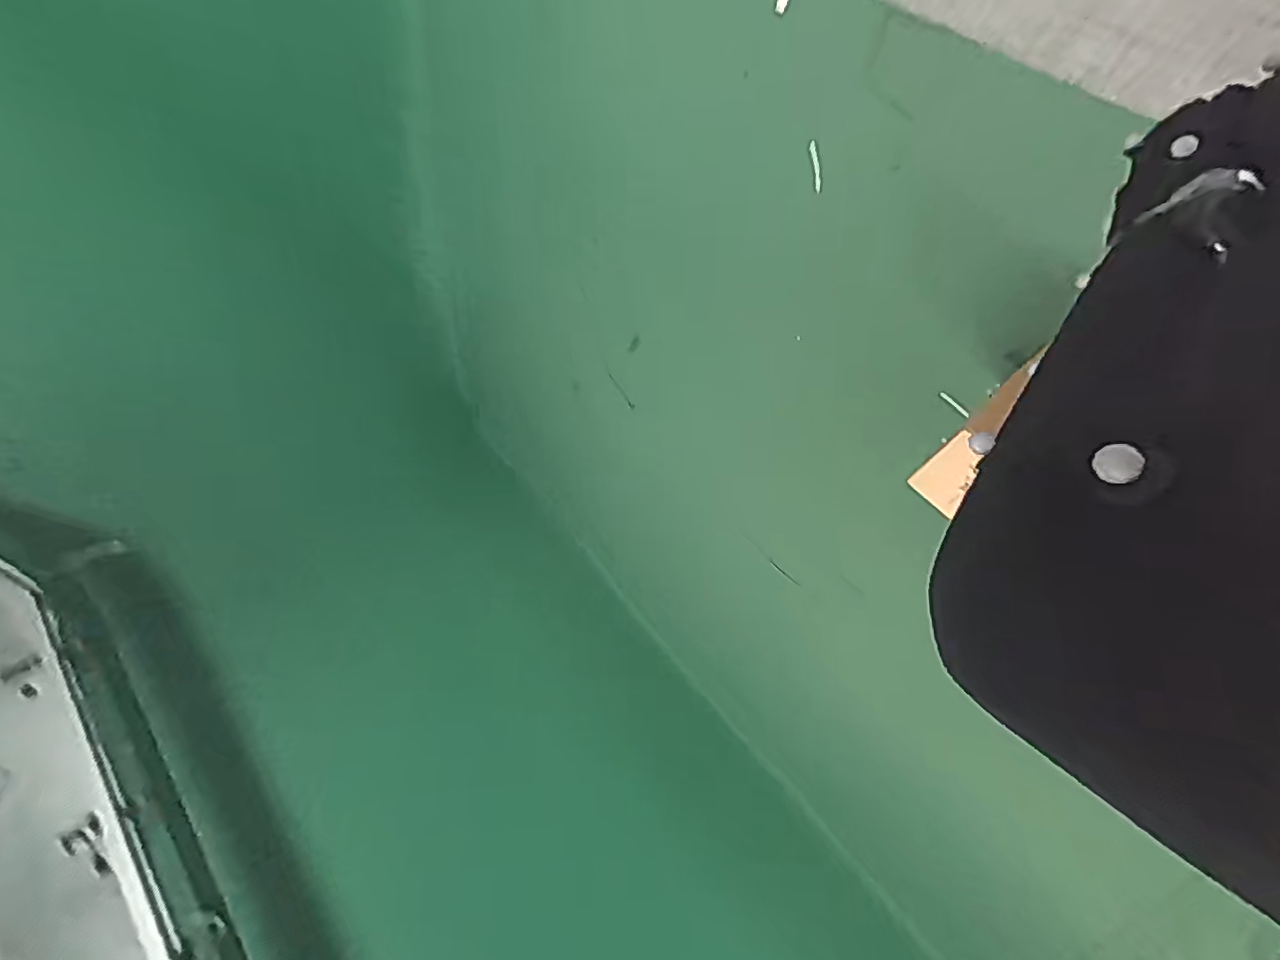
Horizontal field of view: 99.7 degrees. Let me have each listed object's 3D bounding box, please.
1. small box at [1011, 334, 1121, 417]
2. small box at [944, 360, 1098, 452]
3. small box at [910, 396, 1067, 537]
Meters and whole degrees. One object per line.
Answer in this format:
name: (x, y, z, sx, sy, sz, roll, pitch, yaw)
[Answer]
small box: (0.906, -0.190, 1.197, 0.168, 0.176, 0.179, 45, 145, 18)
small box: (0.786, -0.113, 1.117, 0.168, 0.176, 0.179, 46, 148, 17)
small box: (0.669, -0.030, 1.035, 0.168, 0.176, 0.179, 46, 148, 18)
